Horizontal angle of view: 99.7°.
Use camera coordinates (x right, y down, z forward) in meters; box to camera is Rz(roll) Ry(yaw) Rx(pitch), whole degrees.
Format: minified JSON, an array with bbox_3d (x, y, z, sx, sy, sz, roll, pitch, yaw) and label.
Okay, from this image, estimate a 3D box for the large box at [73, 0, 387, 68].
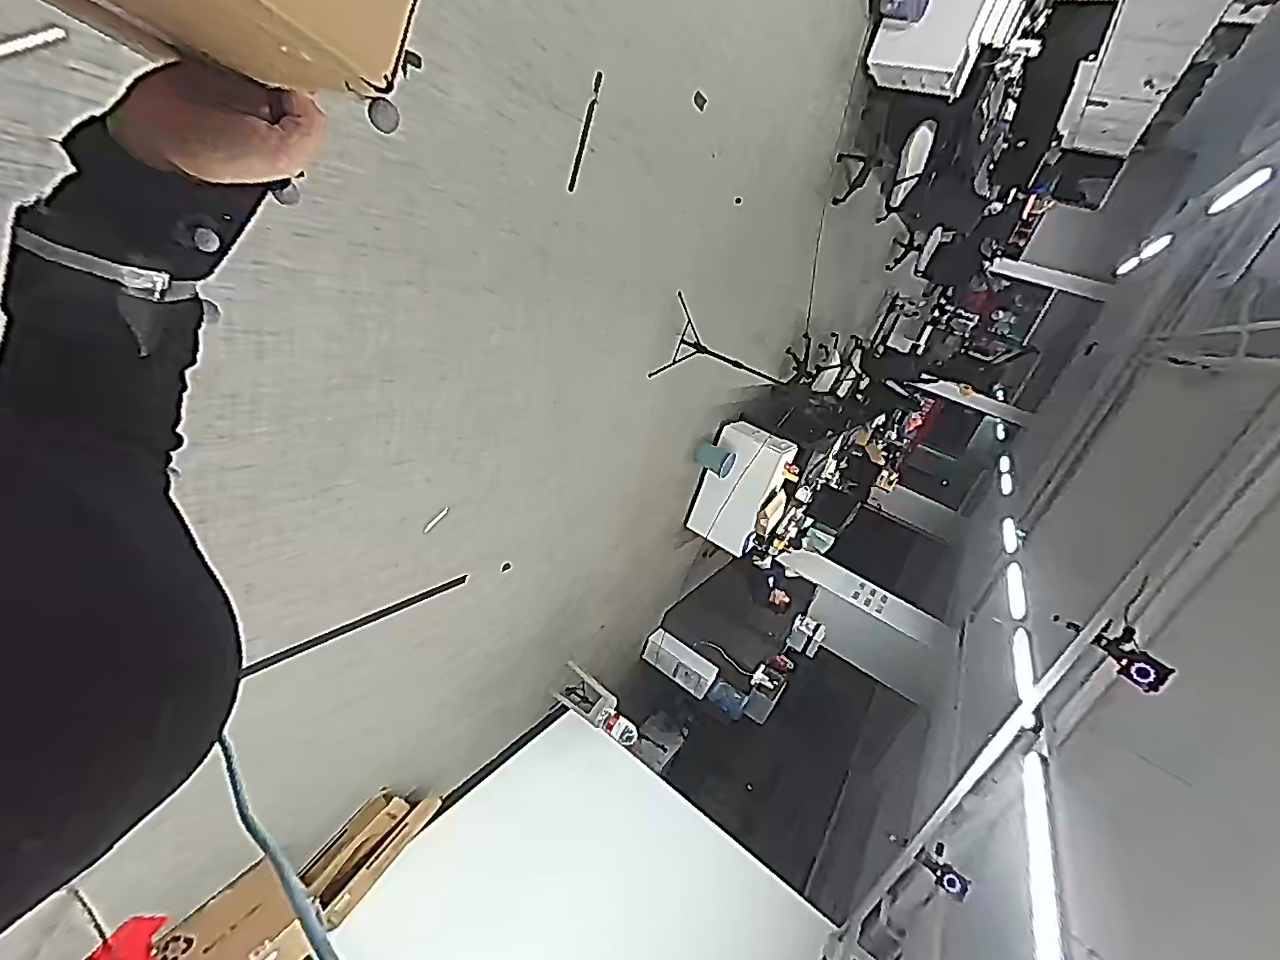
[{"bbox_3d":[-0.267,-0.371,0.091,0.408,0.320,0.320,3,114,-56],"label":"large box"}]
